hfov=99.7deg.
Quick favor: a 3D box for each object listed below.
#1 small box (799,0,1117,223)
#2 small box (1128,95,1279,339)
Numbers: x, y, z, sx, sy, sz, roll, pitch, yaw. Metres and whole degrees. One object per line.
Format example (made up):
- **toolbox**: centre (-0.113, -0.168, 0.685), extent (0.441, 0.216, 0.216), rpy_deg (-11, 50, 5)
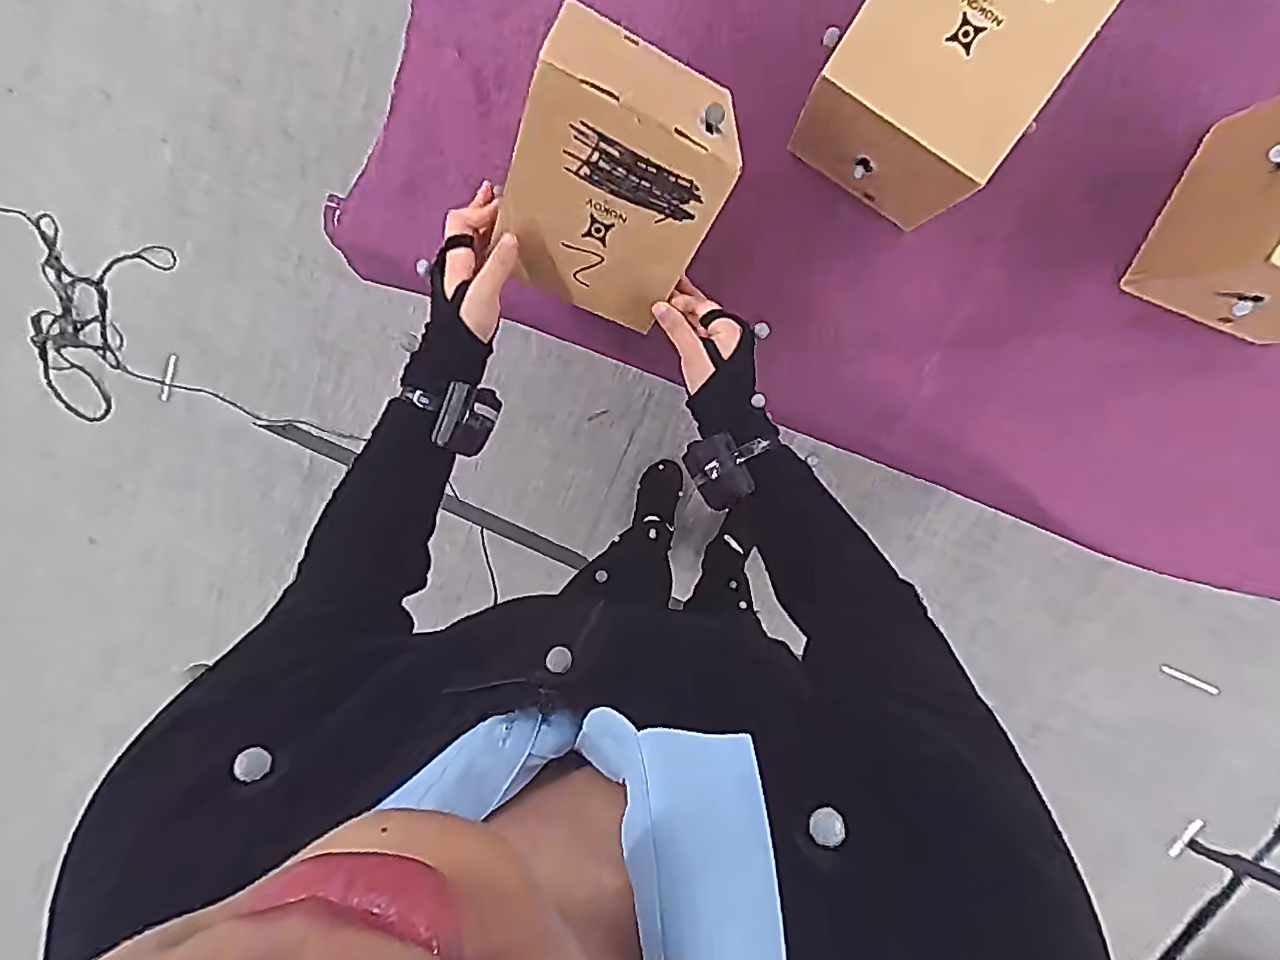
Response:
- **small box**: centre (0.270, -0.377, 0.508), extent (0.168, 0.176, 0.179), rpy_deg (33, 103, -3)
- **small box**: centre (0.623, -0.243, 0.504), extent (0.168, 0.176, 0.179), rpy_deg (23, 102, 1)
